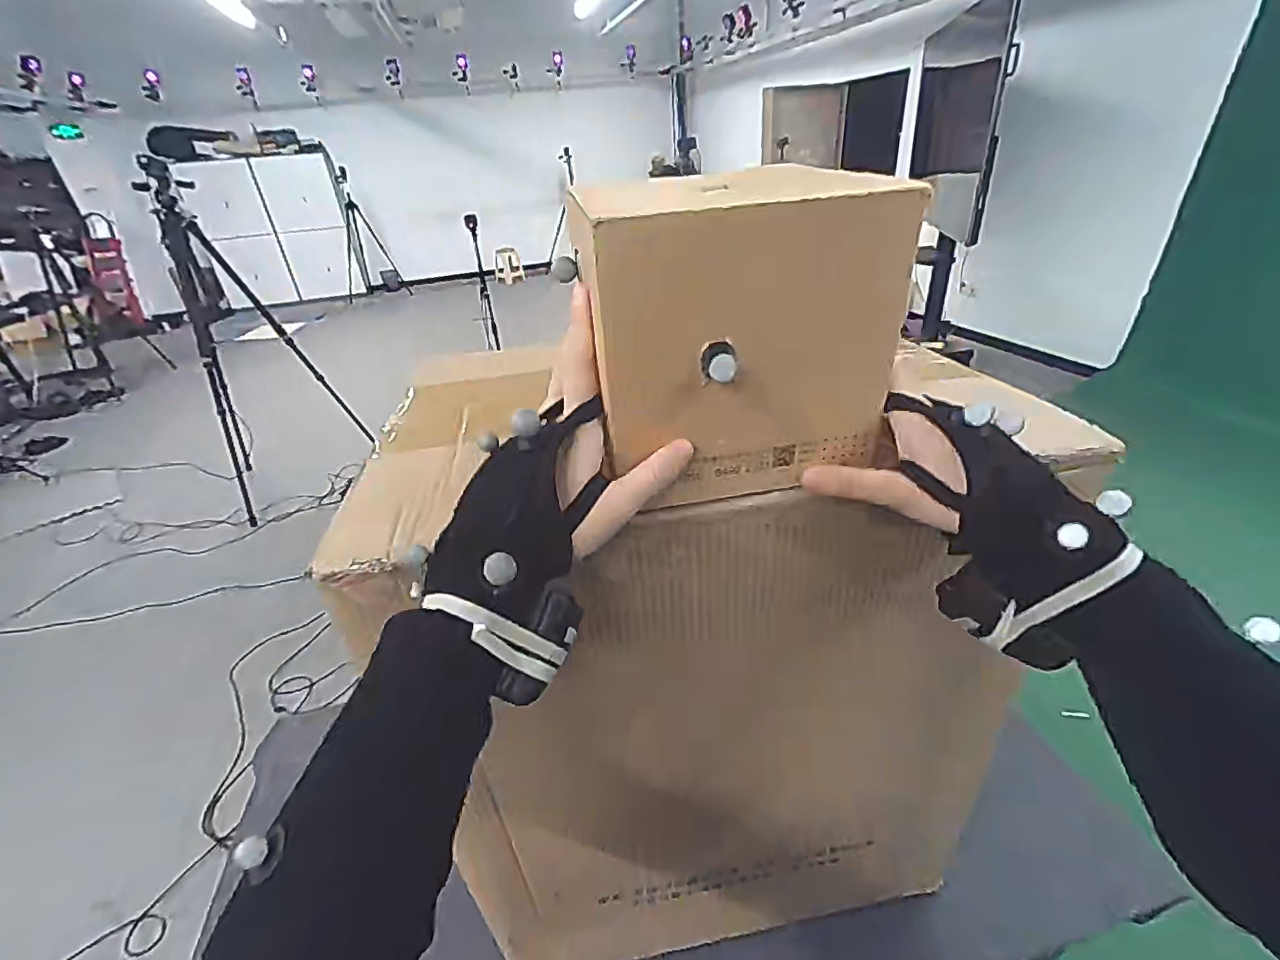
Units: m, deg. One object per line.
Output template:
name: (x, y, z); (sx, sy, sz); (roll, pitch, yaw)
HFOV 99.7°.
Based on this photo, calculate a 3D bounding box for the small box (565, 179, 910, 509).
small box: (0.046, -0.093, 0.365); (0.168, 0.176, 0.179); (-9, 33, -6)
